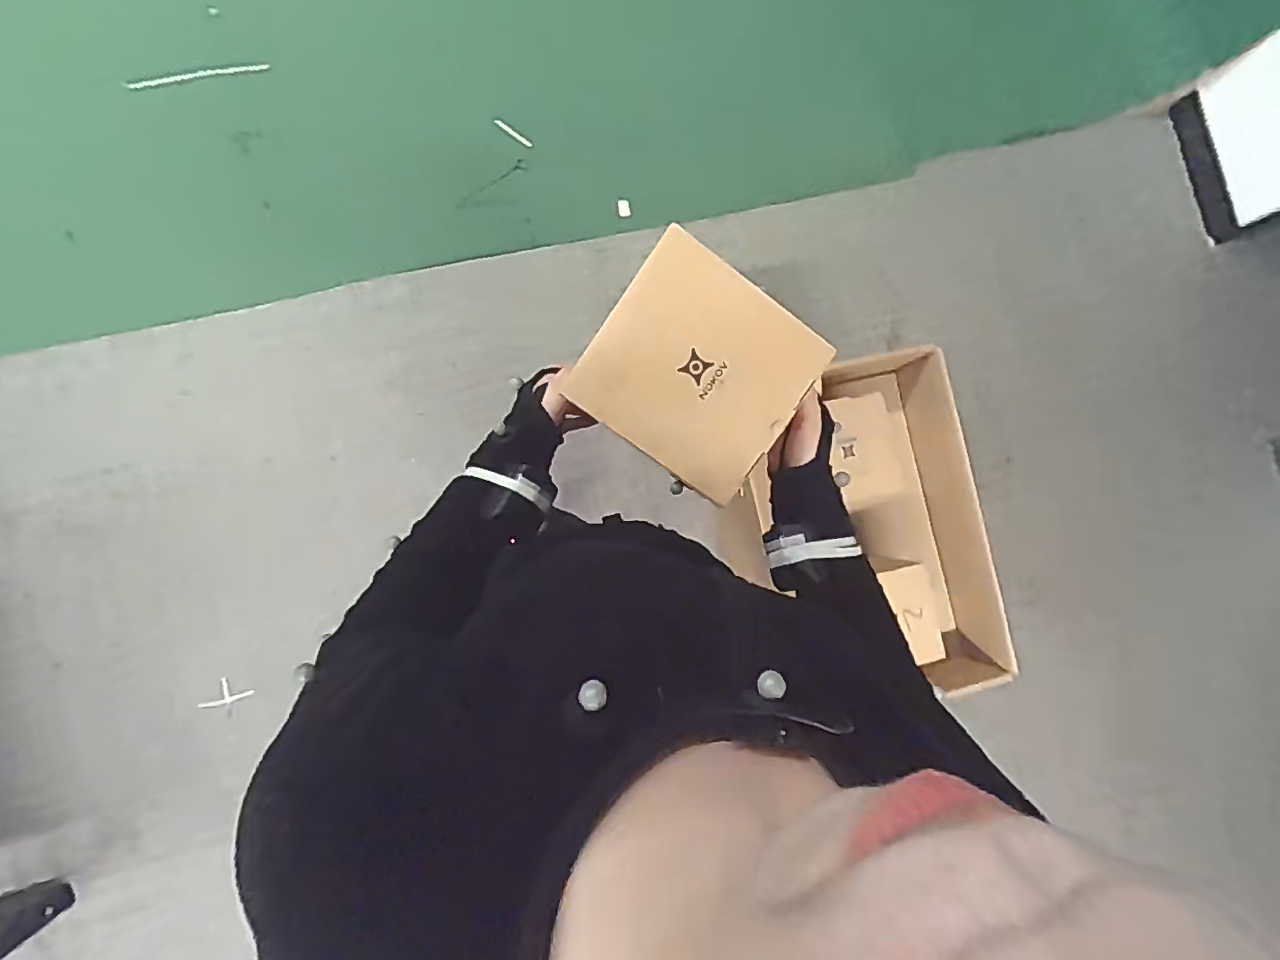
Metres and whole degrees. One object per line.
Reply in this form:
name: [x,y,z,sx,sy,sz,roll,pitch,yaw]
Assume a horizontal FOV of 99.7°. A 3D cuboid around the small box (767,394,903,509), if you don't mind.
small box: [0.345,-0.044,0.990,0.168,0.176,0.179,-10,88,-5]
